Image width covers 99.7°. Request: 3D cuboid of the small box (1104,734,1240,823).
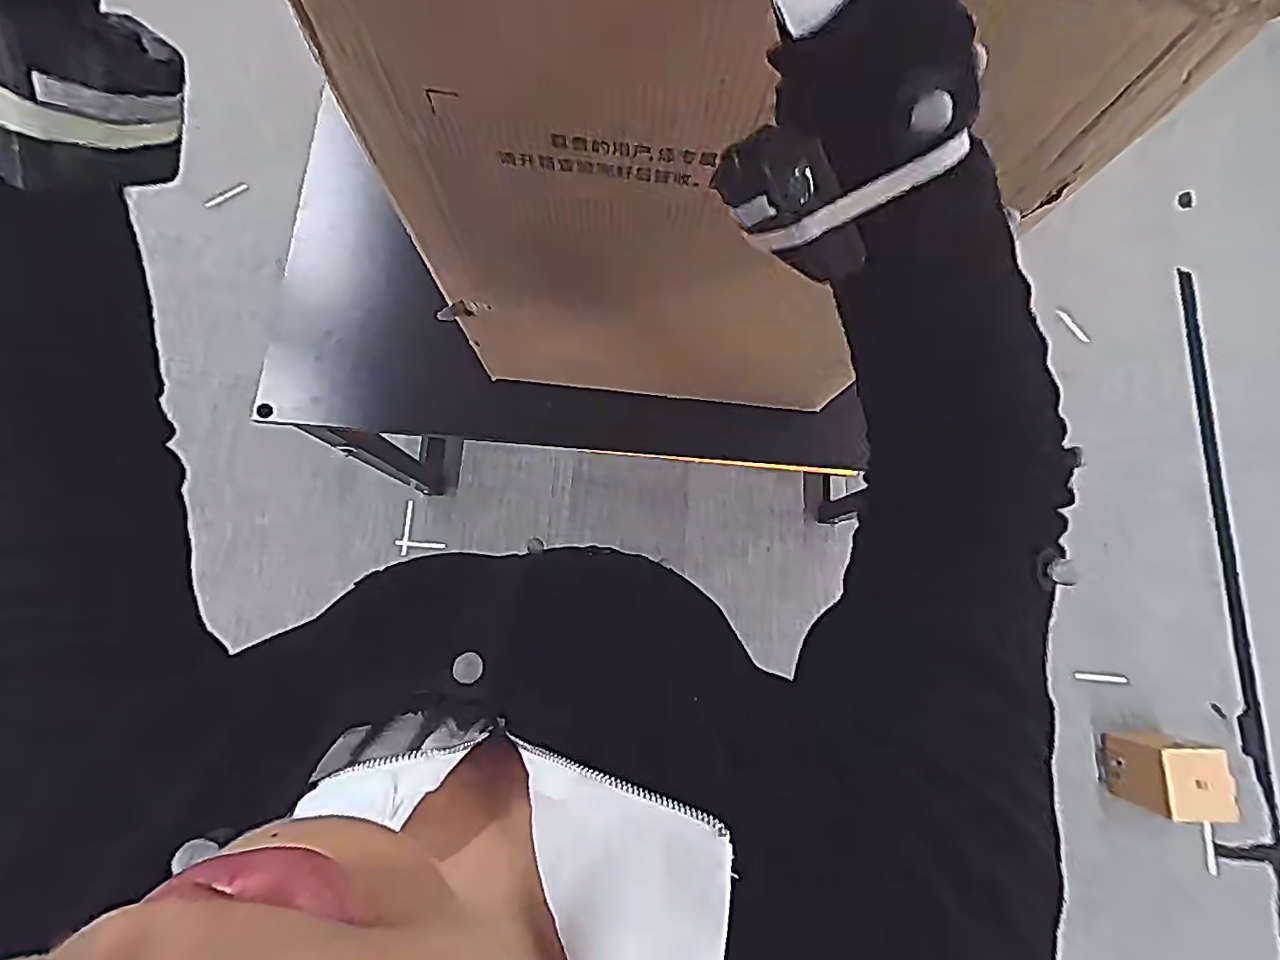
[{"bbox_3d":[1.375,0.771,1.409,0.179,0.176,0.168,1,77,-2],"label":"small box"}]
